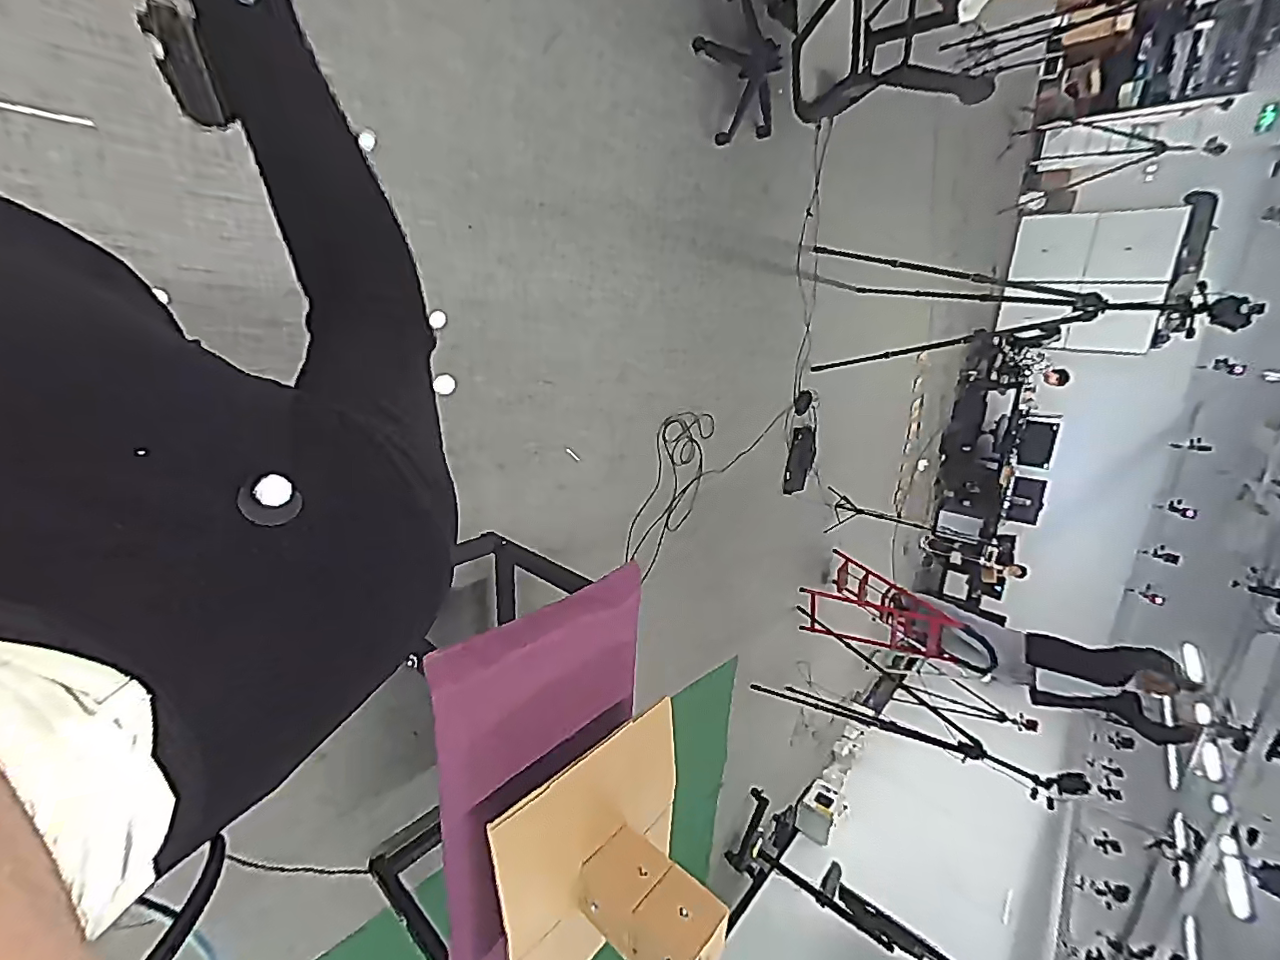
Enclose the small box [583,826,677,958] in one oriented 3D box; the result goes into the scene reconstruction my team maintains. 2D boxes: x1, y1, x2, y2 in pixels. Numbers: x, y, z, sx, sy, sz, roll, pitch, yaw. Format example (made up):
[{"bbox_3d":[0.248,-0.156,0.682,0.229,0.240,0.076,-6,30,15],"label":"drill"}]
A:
[{"bbox_3d":[-0.027,1.056,1.407,0.179,0.176,0.168,-16,116,-46],"label":"small box"}]
